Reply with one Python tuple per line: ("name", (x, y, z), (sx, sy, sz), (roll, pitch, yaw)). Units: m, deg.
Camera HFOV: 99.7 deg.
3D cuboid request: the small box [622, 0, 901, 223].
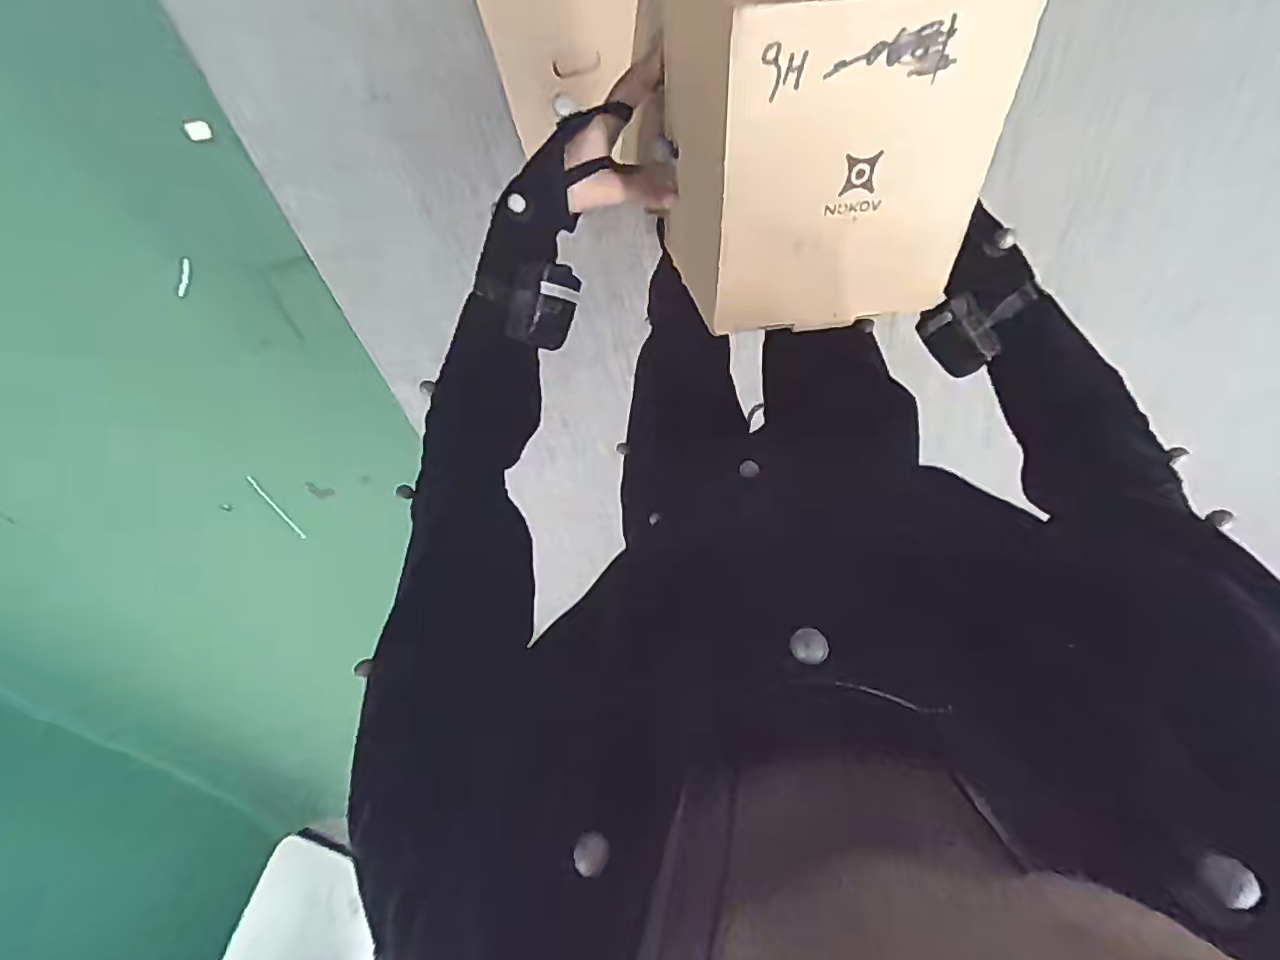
("small box", (0.084, -0.353, 0.475), (0.168, 0.176, 0.179), (-1, 135, -14))
